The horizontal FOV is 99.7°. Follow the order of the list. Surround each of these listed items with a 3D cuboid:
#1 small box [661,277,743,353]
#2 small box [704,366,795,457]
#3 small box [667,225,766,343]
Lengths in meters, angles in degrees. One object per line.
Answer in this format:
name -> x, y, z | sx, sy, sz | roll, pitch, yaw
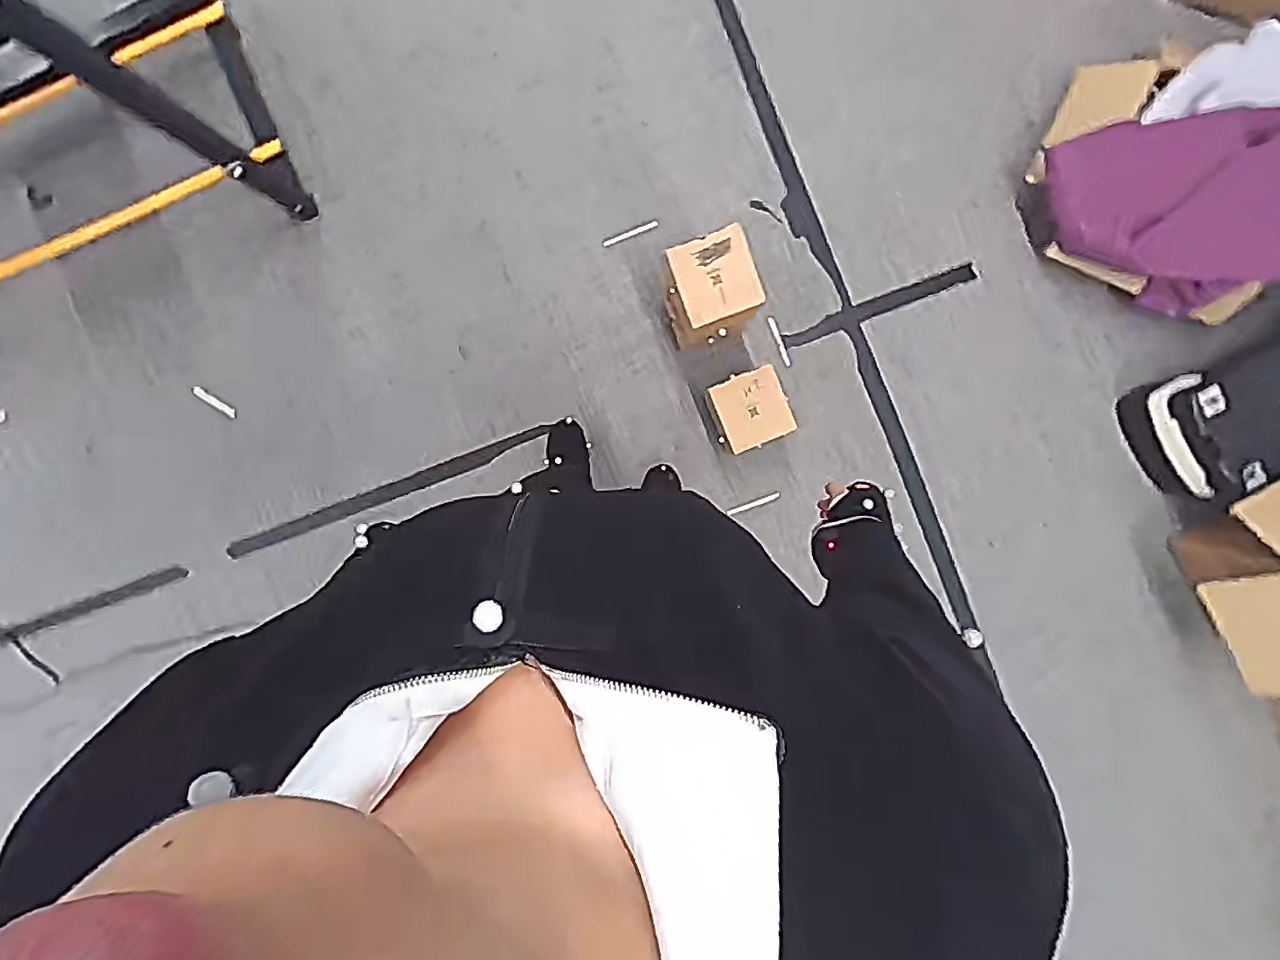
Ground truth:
small box -> 0.162, -0.435, 1.368 | 0.179, 0.176, 0.168 | -19, 92, 4
small box -> 0.272, -0.171, 1.380 | 0.168, 0.176, 0.179 | -22, 93, 4
small box -> 0.161, -0.425, 1.202 | 0.168, 0.176, 0.179 | -19, 93, 4
